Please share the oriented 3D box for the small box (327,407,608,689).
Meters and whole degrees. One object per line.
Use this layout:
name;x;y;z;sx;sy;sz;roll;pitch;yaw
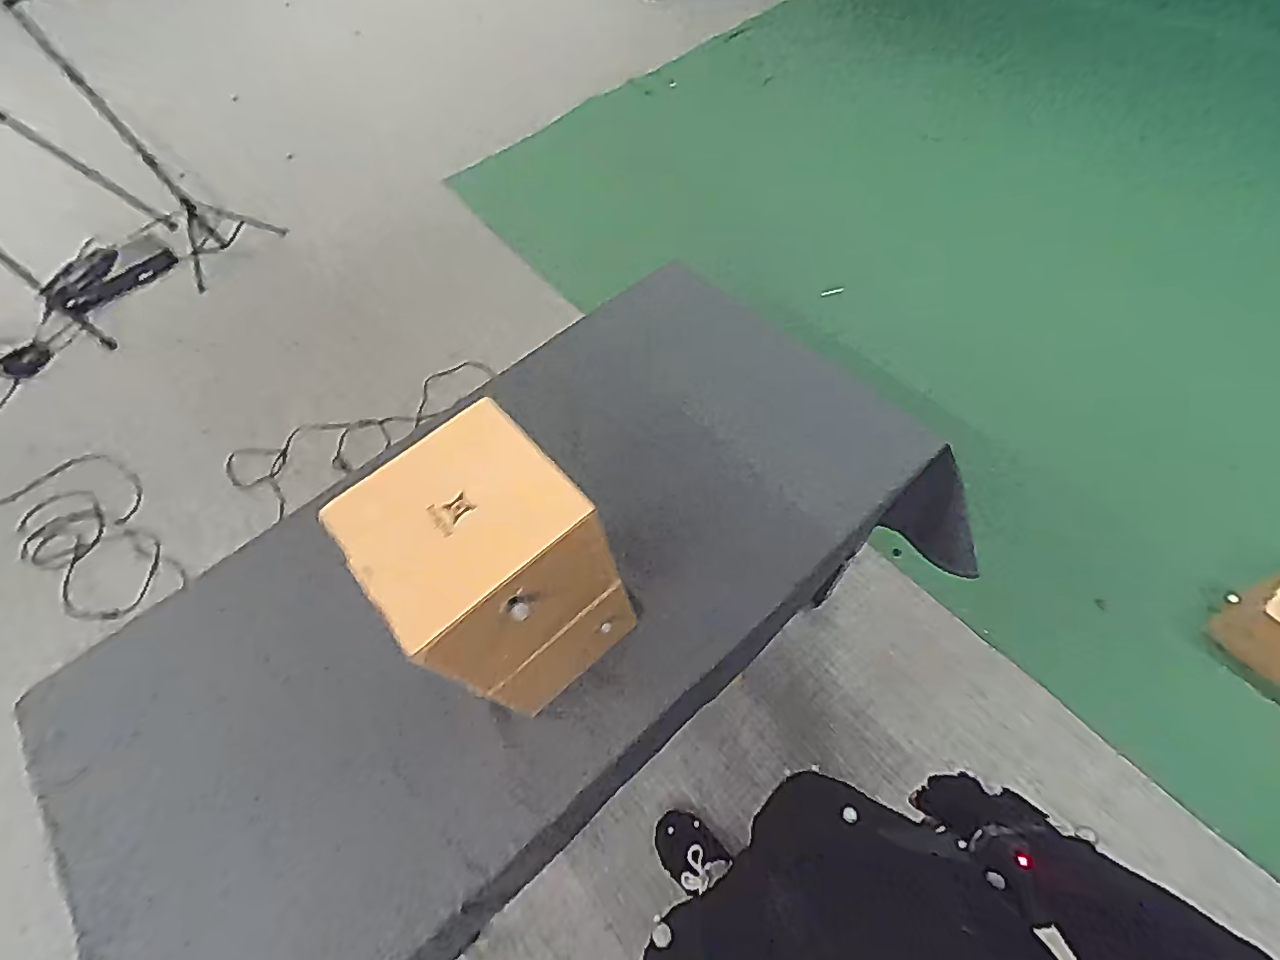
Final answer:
small box;-0.146;0.070;0.520;0.179;0.176;0.168;-40;63;-15
